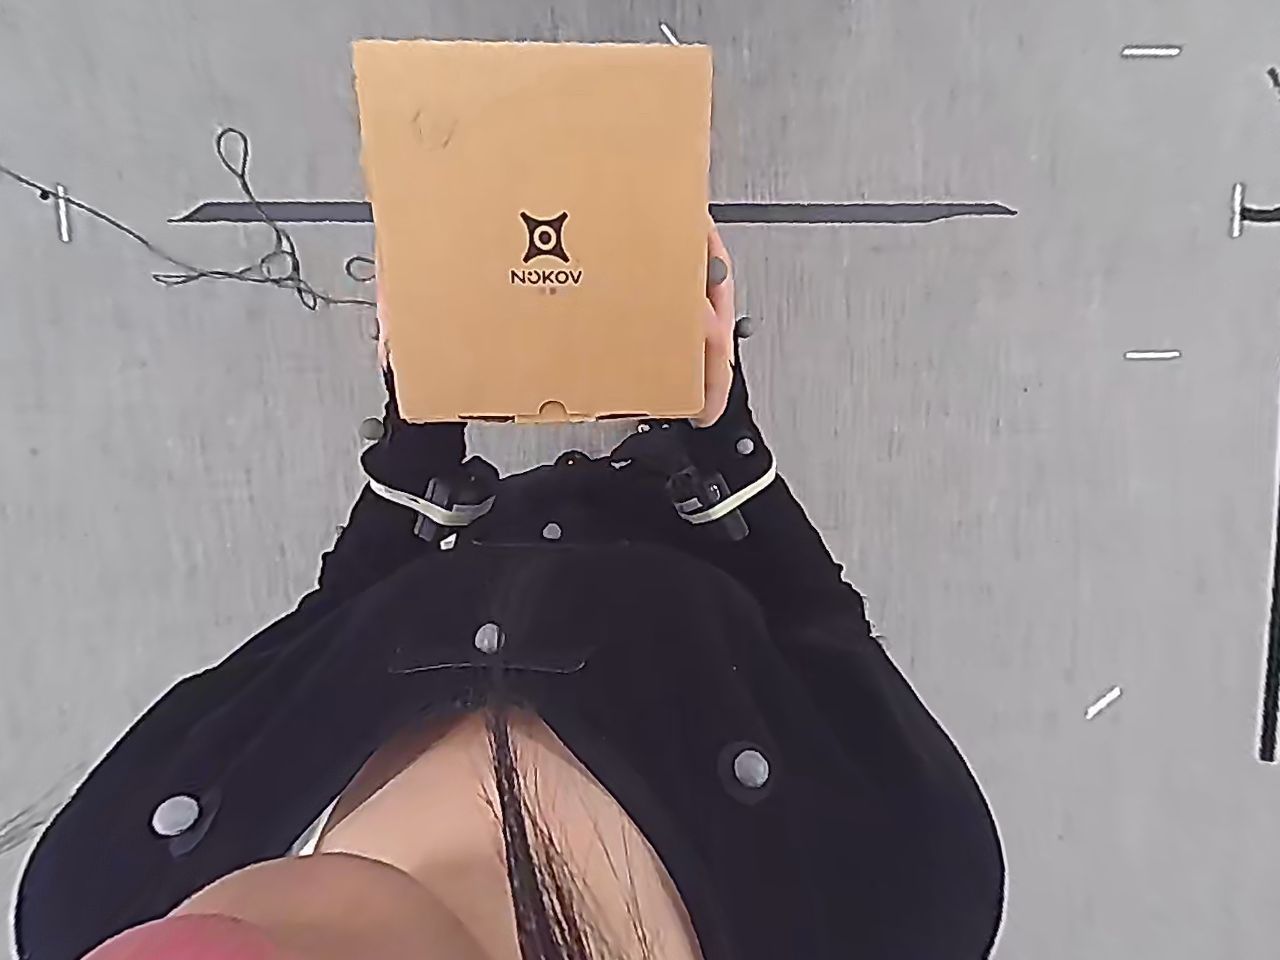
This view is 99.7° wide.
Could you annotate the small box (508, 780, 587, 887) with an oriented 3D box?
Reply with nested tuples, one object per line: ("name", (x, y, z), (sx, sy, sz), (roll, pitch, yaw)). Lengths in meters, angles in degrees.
("small box", (-0.243, 0.946, 1.461), (0.179, 0.176, 0.168), (-8, 96, -2))

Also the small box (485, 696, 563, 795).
("small box", (-0.302, 0.693, 1.436), (0.168, 0.176, 0.179), (-7, 95, -2))

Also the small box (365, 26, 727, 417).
("small box", (-0.045, -0.140, 0.342), (0.168, 0.176, 0.179), (-2, 107, -2))

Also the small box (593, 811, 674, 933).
("small box", (-0.015, 0.934, 1.301), (0.179, 0.176, 0.168), (-4, 96, -2))
